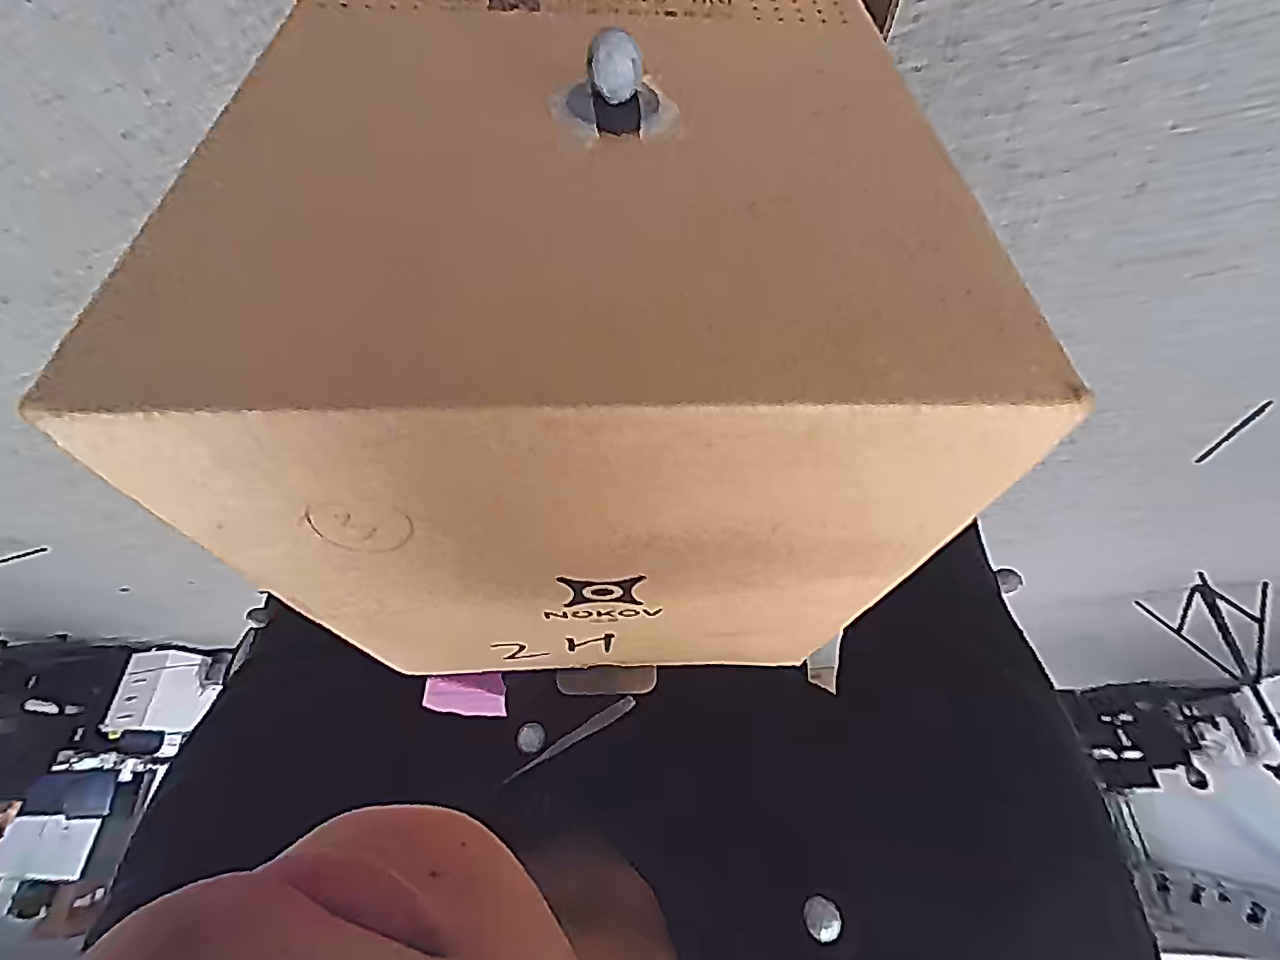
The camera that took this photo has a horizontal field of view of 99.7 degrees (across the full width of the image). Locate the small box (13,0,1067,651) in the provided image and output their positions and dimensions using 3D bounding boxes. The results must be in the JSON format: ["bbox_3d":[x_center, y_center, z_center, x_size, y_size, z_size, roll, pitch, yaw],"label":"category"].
[{"bbox_3d":[-0.018,-0.046,0.194,0.168,0.176,0.179,0,150,-3],"label":"small box"}]
